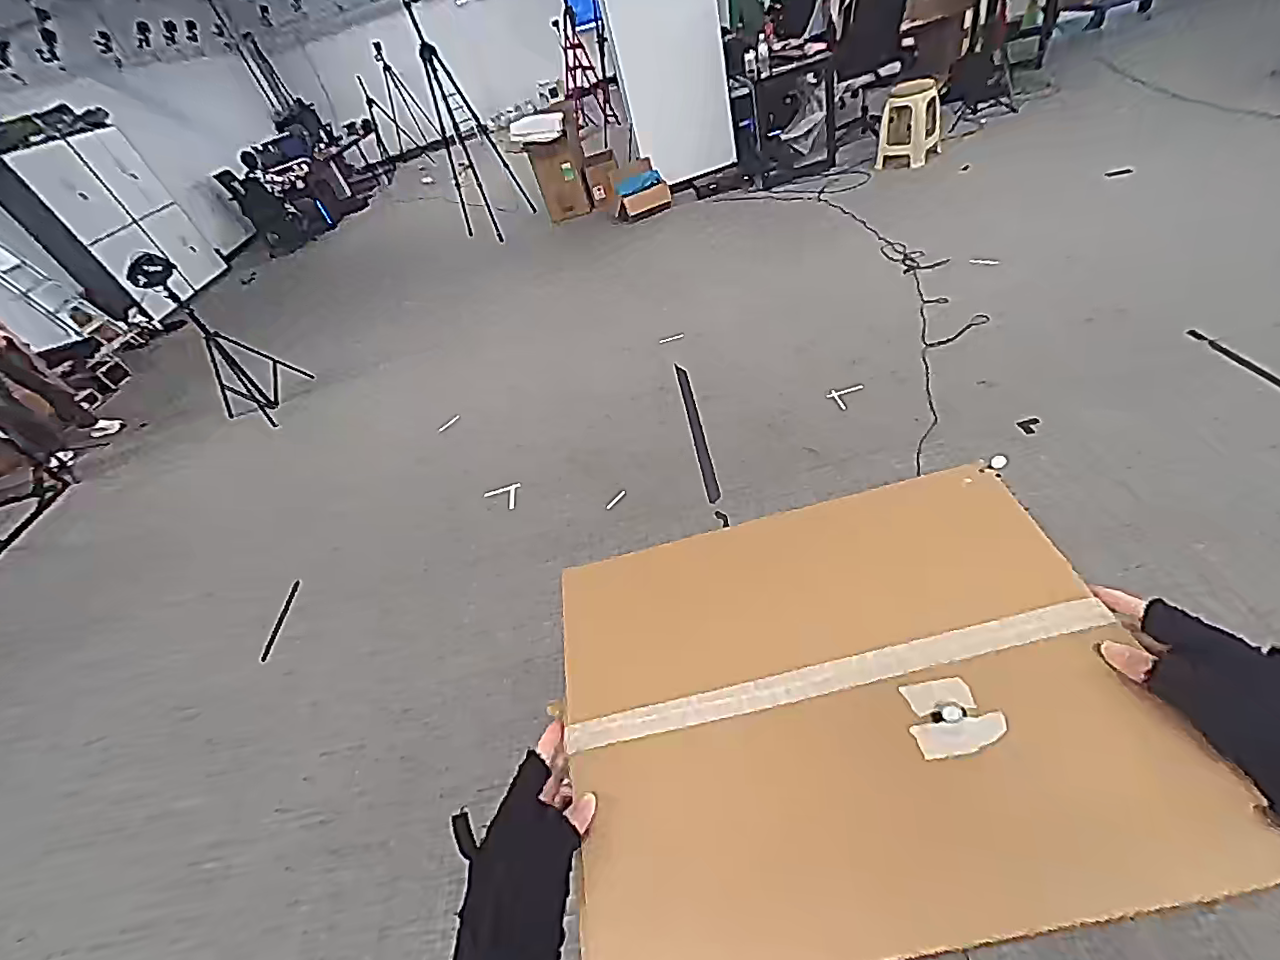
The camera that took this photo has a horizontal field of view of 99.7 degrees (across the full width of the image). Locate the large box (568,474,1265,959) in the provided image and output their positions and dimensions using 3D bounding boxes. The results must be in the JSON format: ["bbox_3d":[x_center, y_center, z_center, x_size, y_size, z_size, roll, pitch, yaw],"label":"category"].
[{"bbox_3d":[0.175,0.251,0.525,0.408,0.320,0.320,-15,48,4],"label":"large box"}]
